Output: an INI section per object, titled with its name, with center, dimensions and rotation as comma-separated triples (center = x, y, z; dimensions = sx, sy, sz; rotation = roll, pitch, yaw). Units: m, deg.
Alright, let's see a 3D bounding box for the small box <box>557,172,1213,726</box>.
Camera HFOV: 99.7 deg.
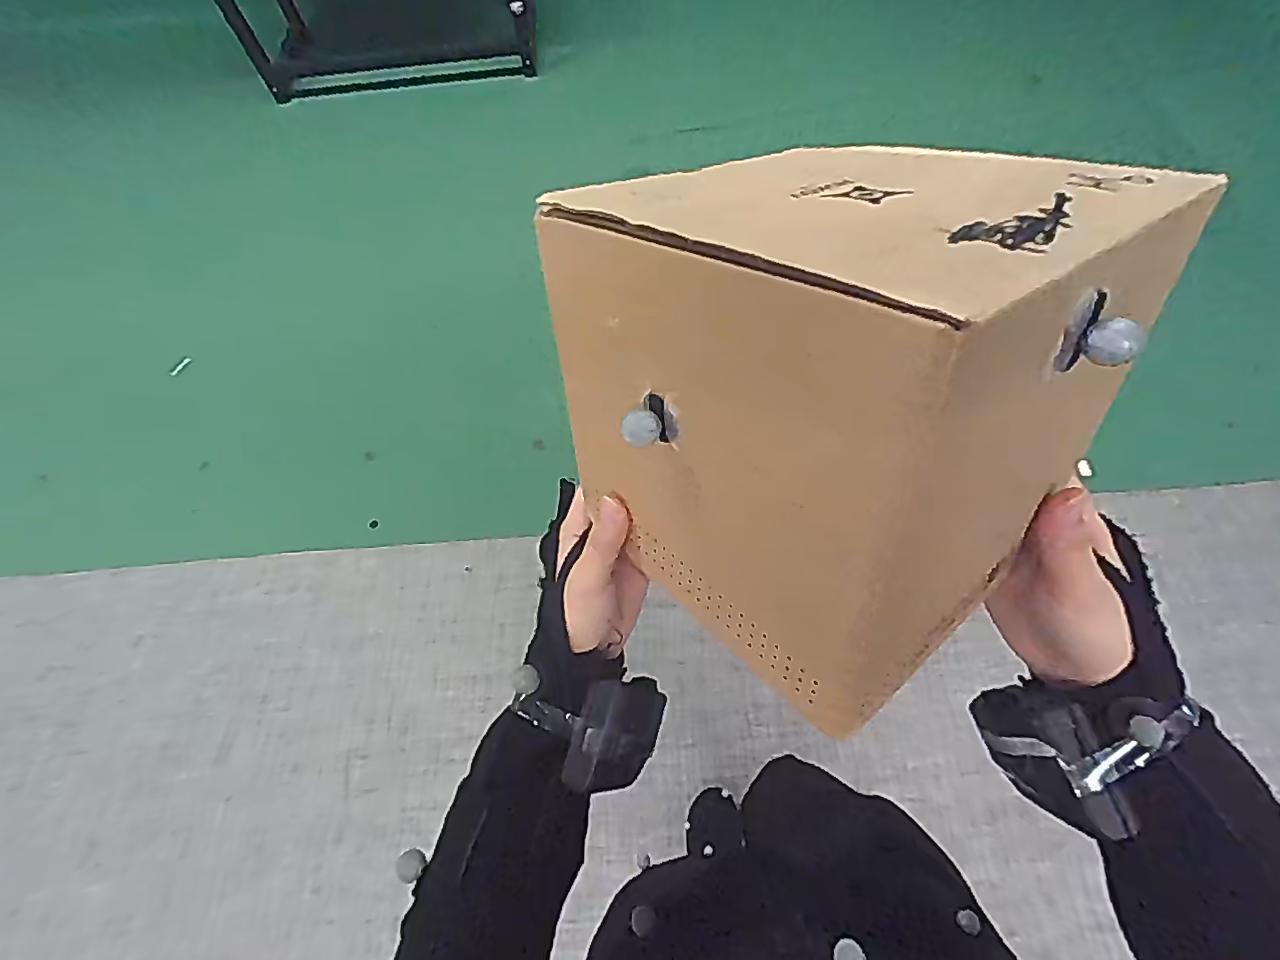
[small box]
center = 0.086, -0.031, 0.251
dimensions = 0.168, 0.176, 0.179
rotation = -30, 44, -27
